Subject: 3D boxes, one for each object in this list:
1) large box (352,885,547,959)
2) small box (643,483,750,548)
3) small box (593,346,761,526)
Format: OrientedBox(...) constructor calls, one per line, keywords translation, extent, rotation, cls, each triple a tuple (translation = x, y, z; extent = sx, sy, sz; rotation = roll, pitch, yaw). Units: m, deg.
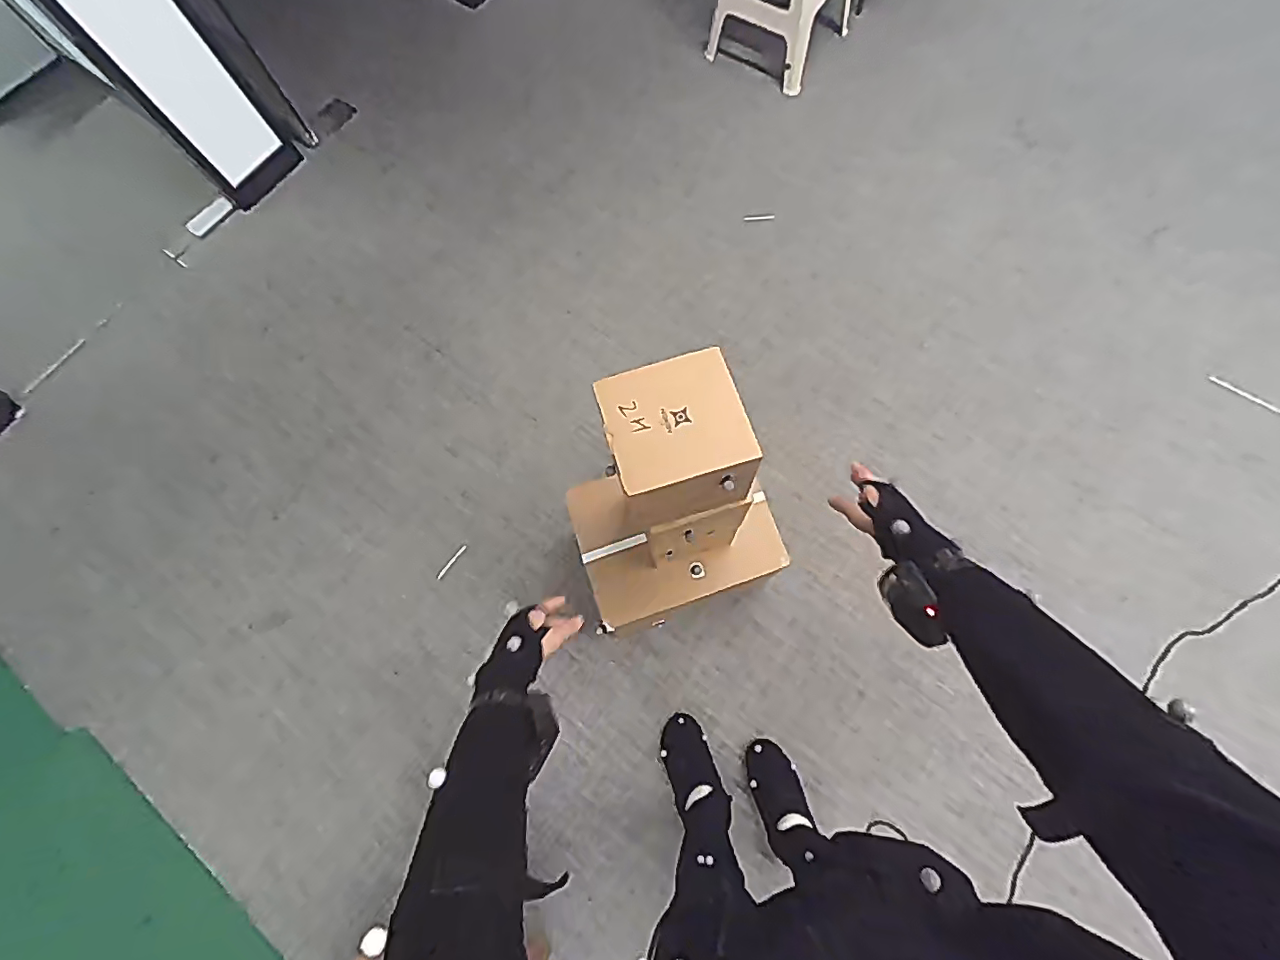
OrientedBox(translation=(-0.417, 1.089, 1.002), extent=(0.320, 0.320, 0.408), rotation=(21, 76, 11), cls="large box")
OrientedBox(translation=(0.070, 0.004, 0.900), extent=(0.168, 0.176, 0.179), rotation=(-18, 69, -2), cls="small box")
OrientedBox(translation=(0.047, -0.052, 0.746), extent=(0.179, 0.176, 0.168), rotation=(-17, 69, -2), cls="small box")
